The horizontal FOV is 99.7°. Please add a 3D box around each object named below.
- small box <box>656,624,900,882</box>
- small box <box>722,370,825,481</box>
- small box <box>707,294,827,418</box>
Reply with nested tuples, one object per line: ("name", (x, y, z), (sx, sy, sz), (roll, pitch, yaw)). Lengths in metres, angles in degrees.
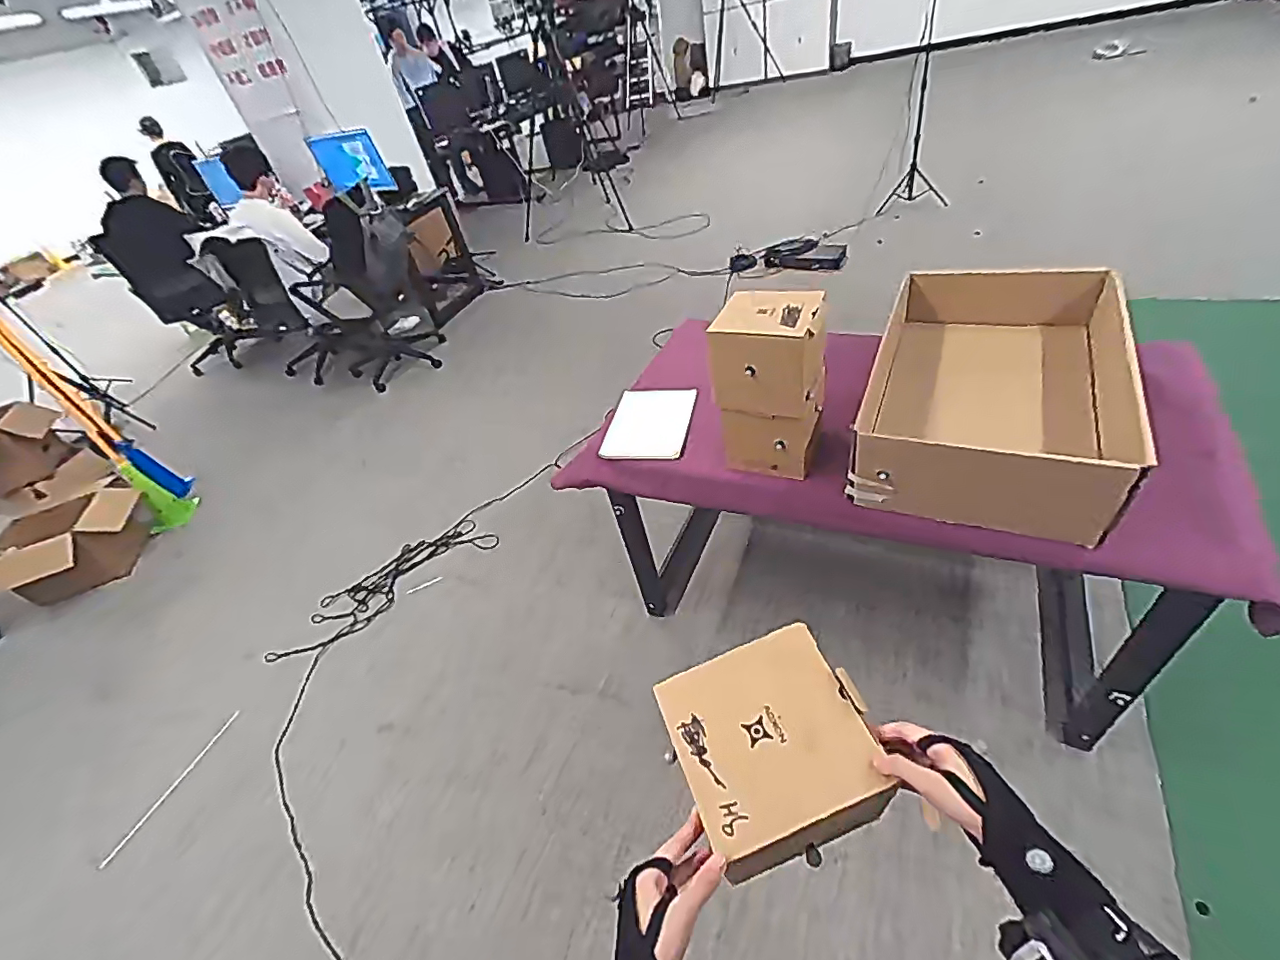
("small box", (0.133, 0.286, 0.566), (0.179, 0.176, 0.168), (-21, 46, -5))
("small box", (0.286, -0.121, 1.136), (0.168, 0.176, 0.179), (12, 47, 26))
("small box", (0.244, -0.235, 1.025), (0.179, 0.176, 0.168), (11, 47, 27))
